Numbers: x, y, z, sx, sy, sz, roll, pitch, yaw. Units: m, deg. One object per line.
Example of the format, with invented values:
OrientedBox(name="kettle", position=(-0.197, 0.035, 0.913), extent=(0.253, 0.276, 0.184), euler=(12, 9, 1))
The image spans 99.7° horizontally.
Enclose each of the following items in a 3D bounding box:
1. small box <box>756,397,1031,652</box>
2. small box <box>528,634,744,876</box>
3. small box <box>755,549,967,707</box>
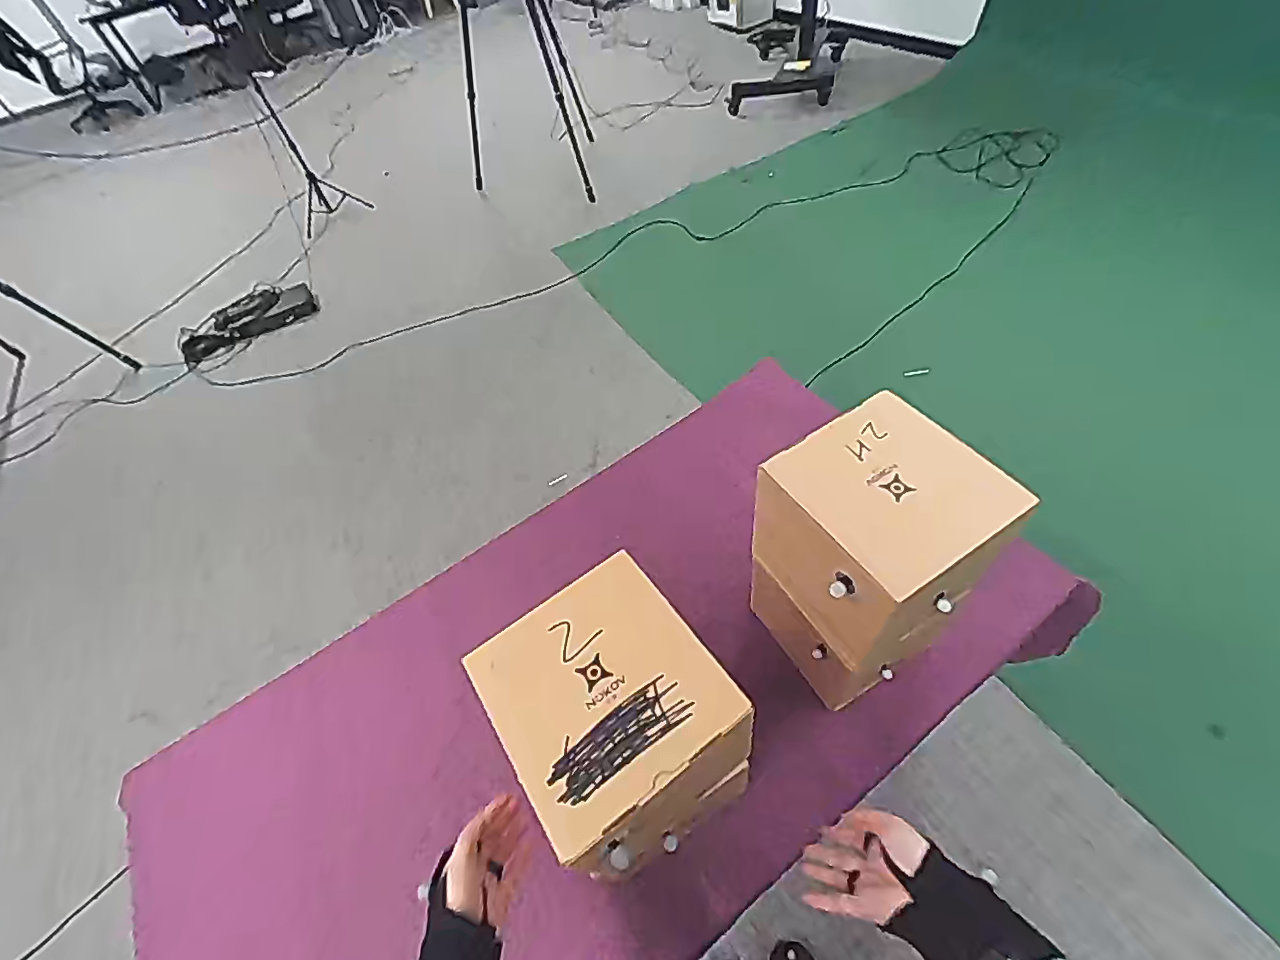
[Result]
OrientedBox(name="small box", position=(0.238, 0.055, 0.559), extent=(0.168, 0.176, 0.179), euler=(-30, 54, -13))
OrientedBox(name="small box", position=(0.005, 0.314, 0.612), extent=(0.179, 0.176, 0.168), euler=(-30, 54, -12))
OrientedBox(name="small box", position=(0.260, 0.154, 0.689), extent=(0.168, 0.176, 0.179), euler=(-29, 54, -12))
